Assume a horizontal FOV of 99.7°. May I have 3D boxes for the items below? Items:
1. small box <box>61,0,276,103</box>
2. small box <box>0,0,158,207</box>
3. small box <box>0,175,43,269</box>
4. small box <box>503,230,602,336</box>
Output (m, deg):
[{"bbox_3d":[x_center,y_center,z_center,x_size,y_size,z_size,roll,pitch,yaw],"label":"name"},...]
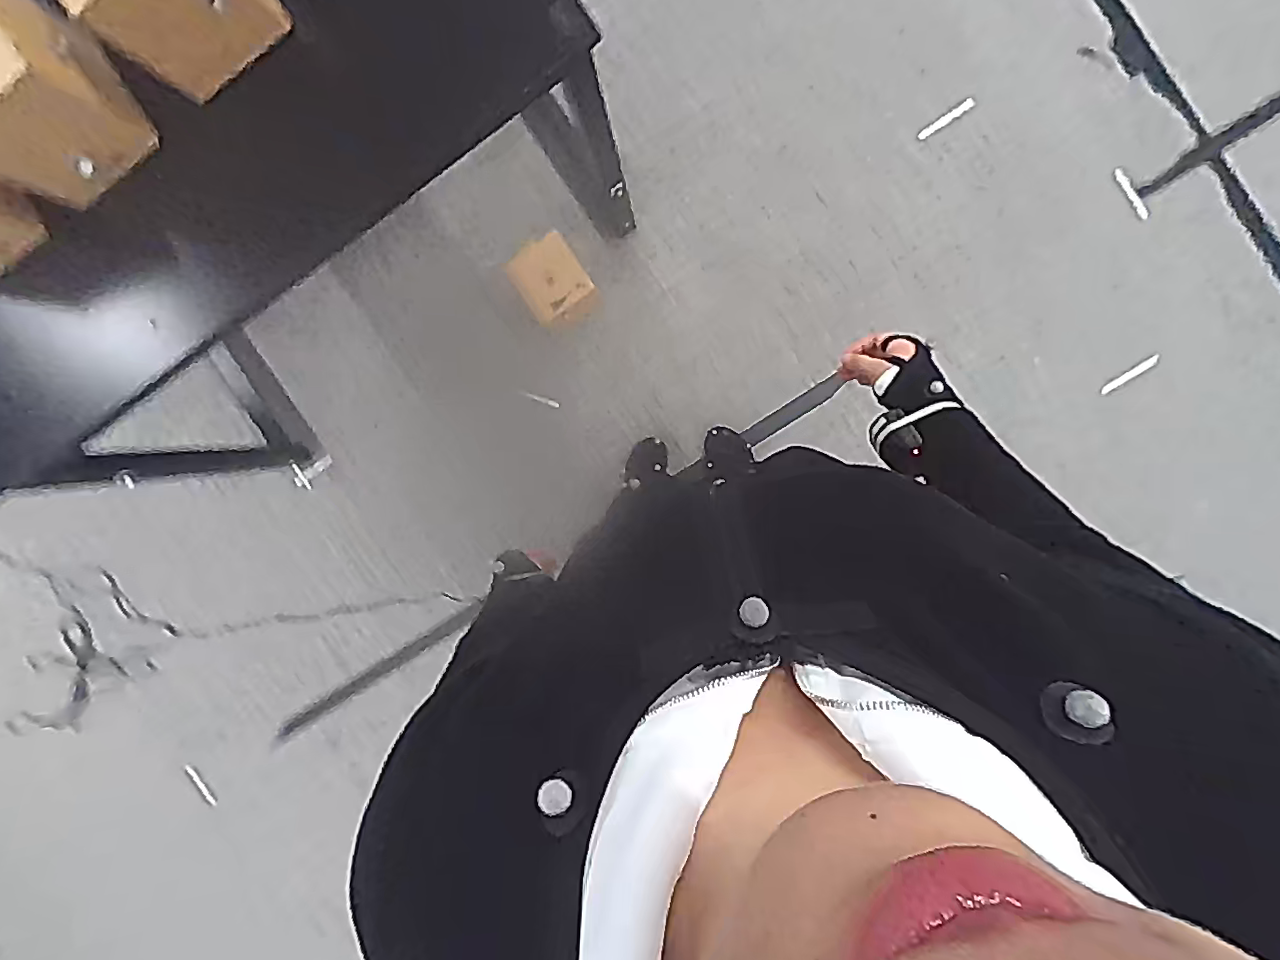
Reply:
[{"bbox_3d":[-0.613,-0.645,0.690,0.179,0.176,0.168,-33,90,8],"label":"small box"},{"bbox_3d":[-0.818,-0.507,0.716,0.168,0.176,0.179,-35,93,6],"label":"small box"},{"bbox_3d":[-1.007,-0.389,0.742,0.168,0.176,0.179,-31,92,6],"label":"small box"},{"bbox_3d":[-0.218,-0.499,1.401,0.168,0.176,0.179,-34,91,7],"label":"small box"}]
